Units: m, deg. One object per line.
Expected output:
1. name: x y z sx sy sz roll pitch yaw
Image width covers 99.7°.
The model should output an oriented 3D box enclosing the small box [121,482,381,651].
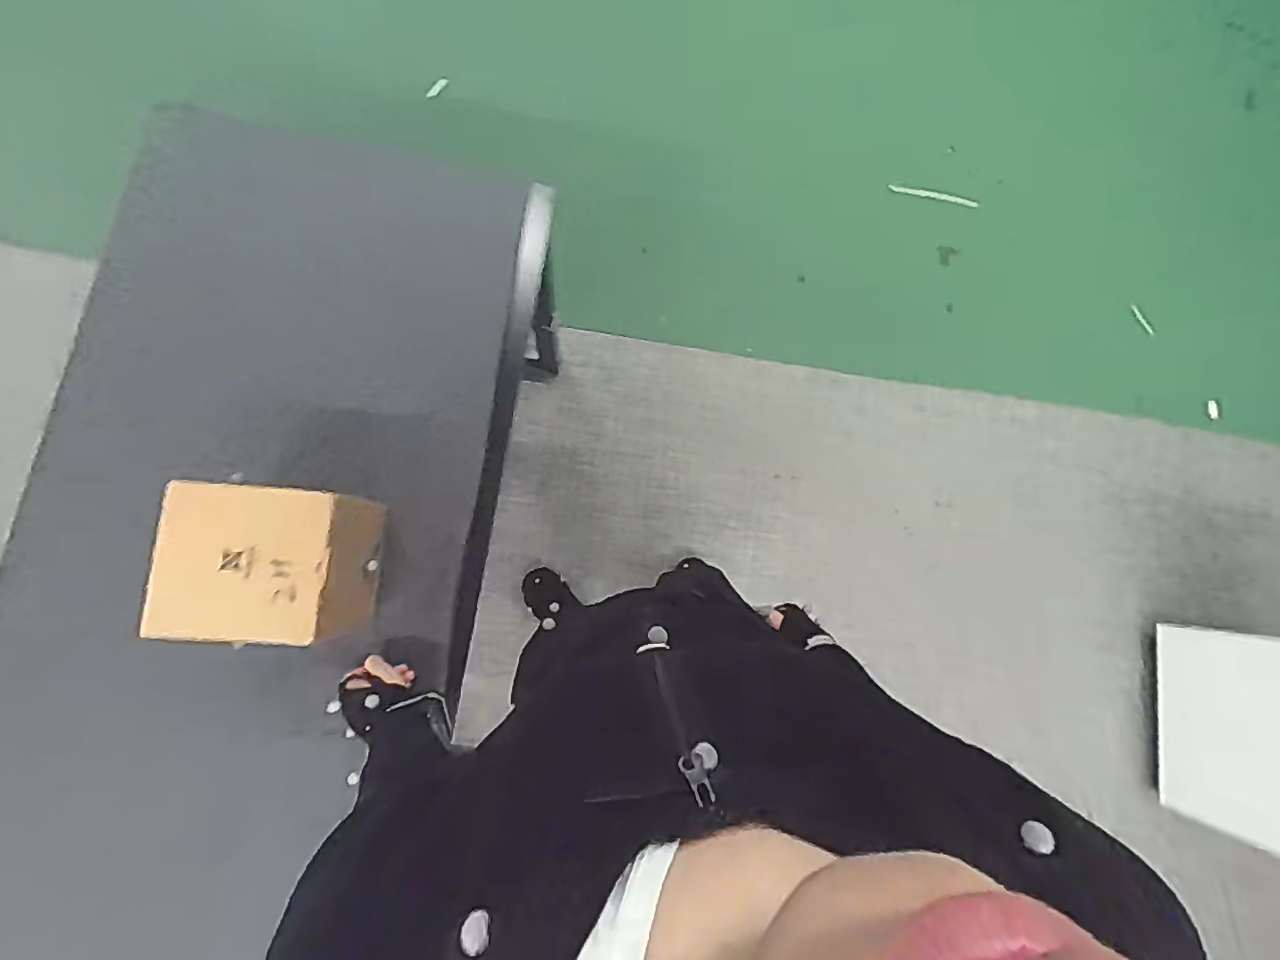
1. small box: -0.437 0.101 0.639 0.179 0.176 0.168 4 82 -5
